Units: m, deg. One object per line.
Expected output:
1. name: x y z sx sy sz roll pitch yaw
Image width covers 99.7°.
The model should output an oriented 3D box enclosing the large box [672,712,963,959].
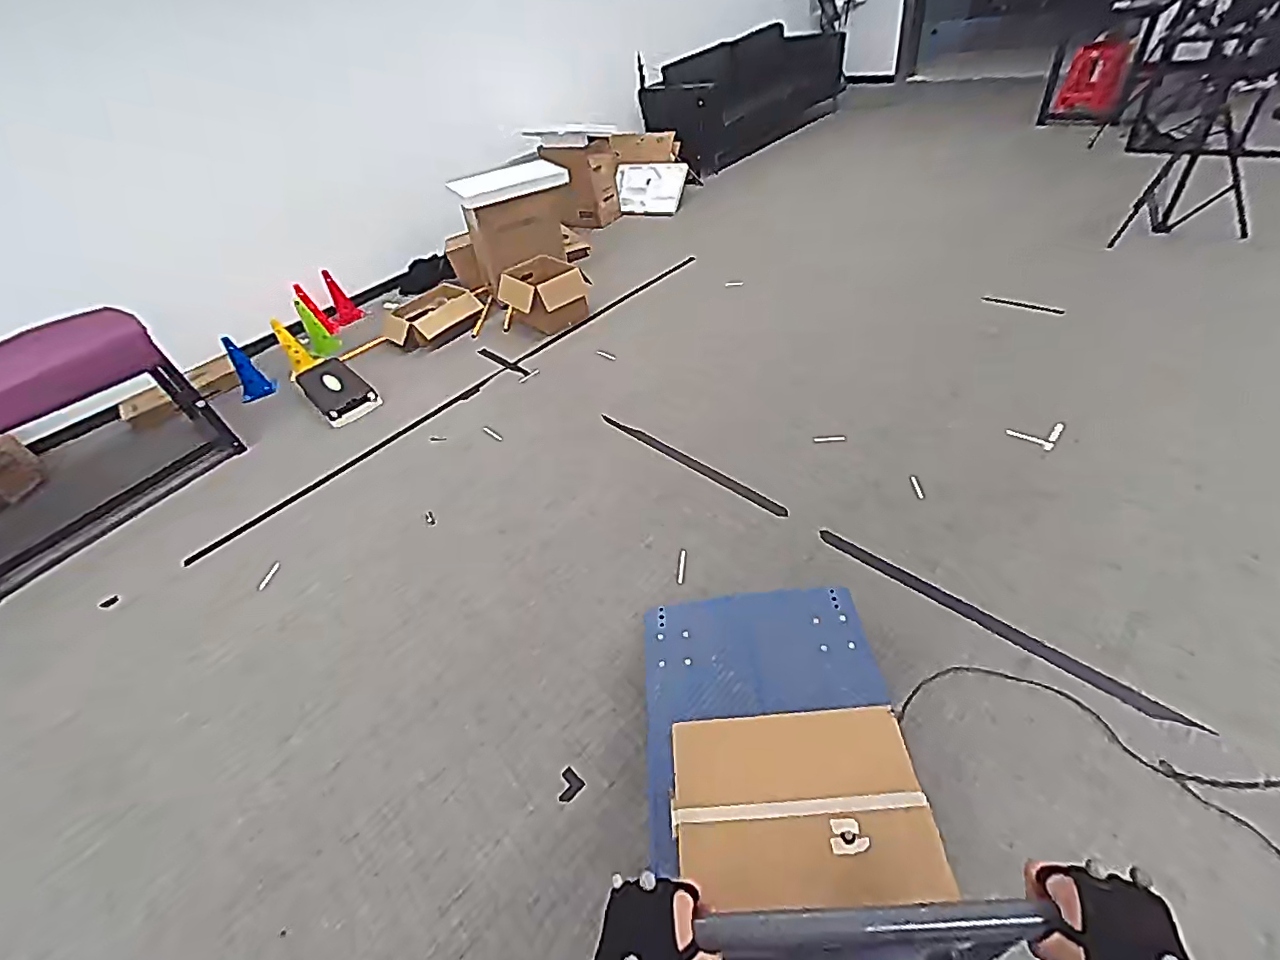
1. large box: 0.280 0.658 0.988 0.408 0.320 0.320 -7 44 5
